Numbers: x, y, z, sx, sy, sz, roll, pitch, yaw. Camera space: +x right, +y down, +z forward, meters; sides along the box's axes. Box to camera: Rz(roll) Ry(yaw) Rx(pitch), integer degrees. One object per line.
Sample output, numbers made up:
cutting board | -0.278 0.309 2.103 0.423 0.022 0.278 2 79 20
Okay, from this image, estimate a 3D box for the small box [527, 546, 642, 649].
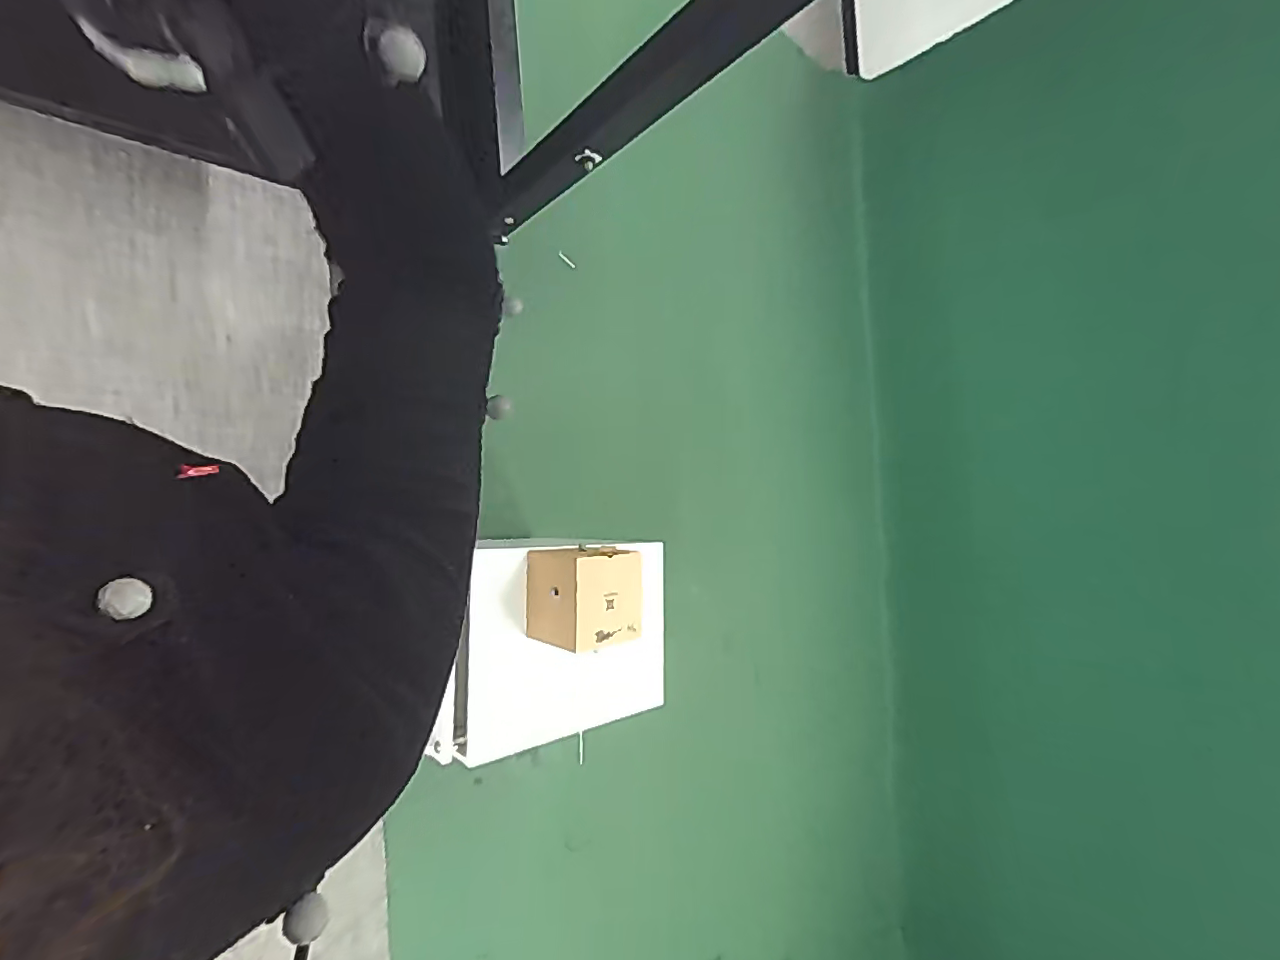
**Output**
small box | -0.112 0.222 1.073 0.168 0.176 0.179 2 86 -43
